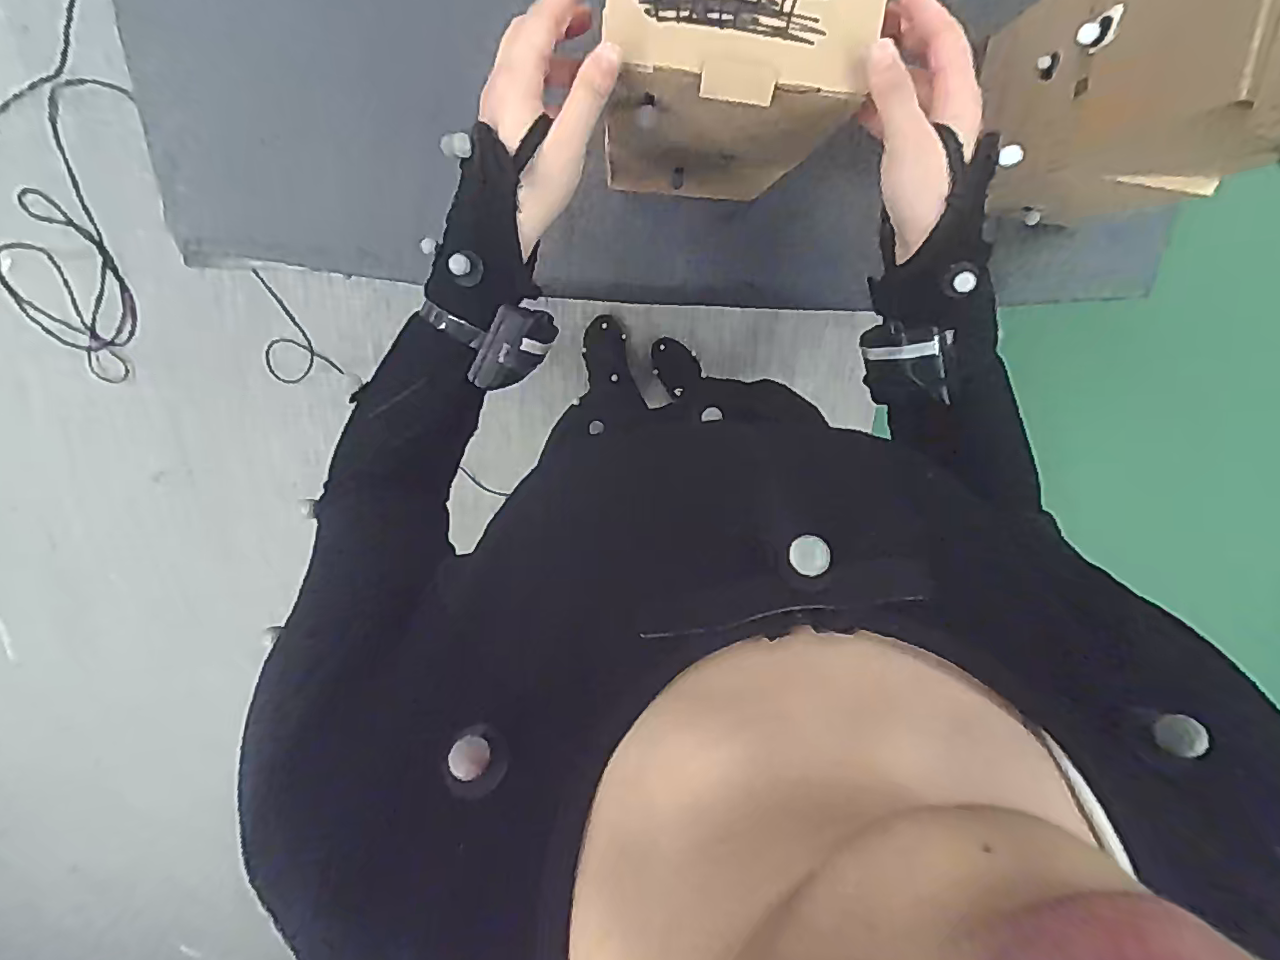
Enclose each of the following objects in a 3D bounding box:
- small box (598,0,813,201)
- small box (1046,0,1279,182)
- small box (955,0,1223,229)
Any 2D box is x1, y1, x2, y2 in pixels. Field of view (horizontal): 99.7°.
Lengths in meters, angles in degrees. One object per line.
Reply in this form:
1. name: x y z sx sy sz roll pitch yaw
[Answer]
1. small box: 0.055 -0.387 0.536 0.179 0.176 0.168 4 107 -2
2. small box: 0.453 -0.331 0.393 0.179 0.176 0.168 0 104 0
3. small box: 0.459 -0.374 0.549 0.168 0.176 0.179 7 106 -3
